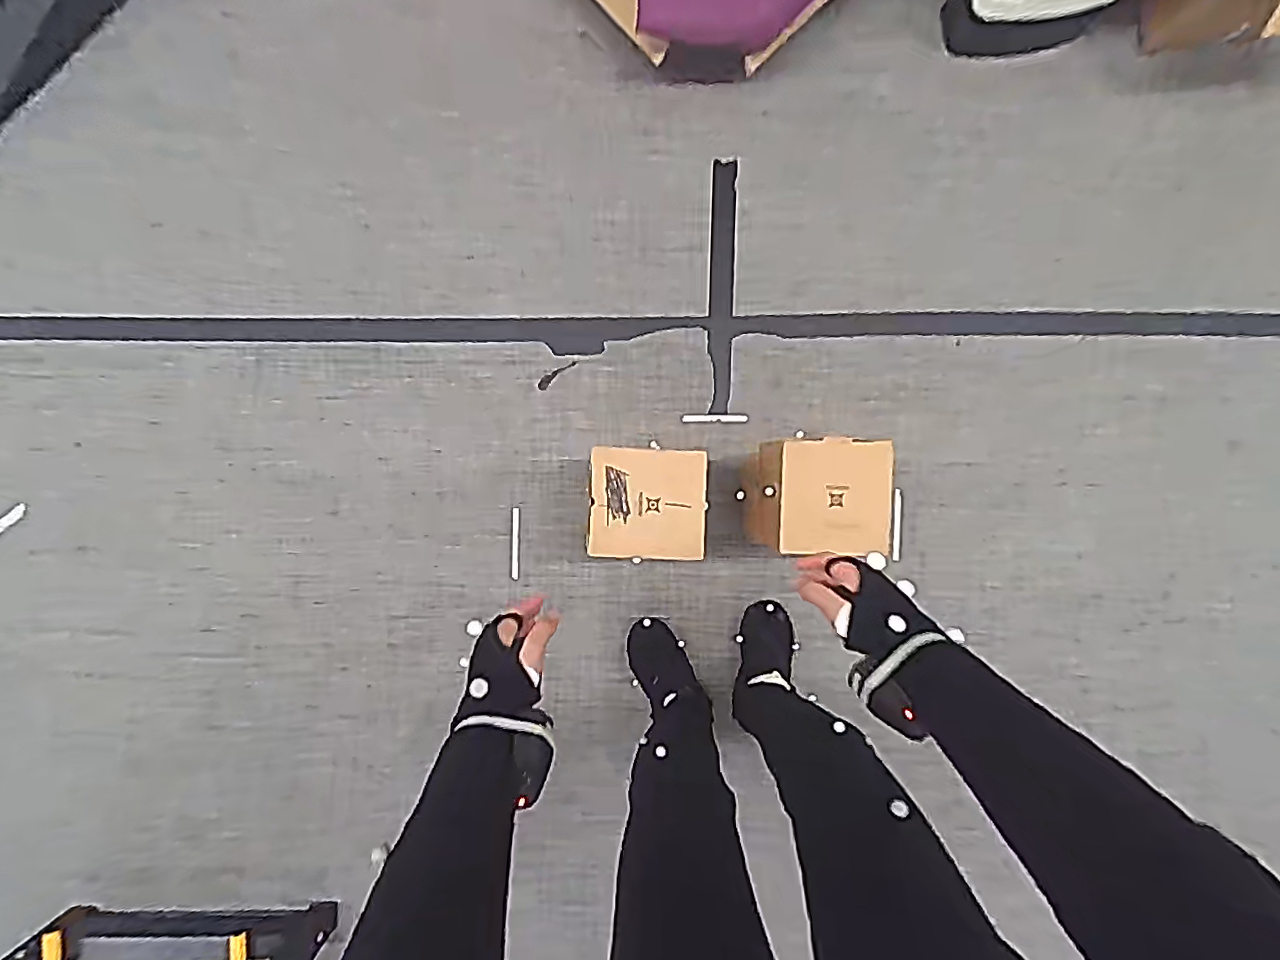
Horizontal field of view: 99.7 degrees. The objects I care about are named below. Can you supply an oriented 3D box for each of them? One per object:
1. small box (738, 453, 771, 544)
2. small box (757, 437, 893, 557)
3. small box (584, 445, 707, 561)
[{"bbox_3d":[0.293,0.031,1.041,0.179,0.176,0.168,0,91,0],"label":"small box"},{"bbox_3d":[0.289,0.024,0.878,0.168,0.176,0.179,1,92,0],"label":"small box"},{"bbox_3d":[0.009,0.033,0.874,0.179,0.176,0.168,2,91,-1],"label":"small box"}]
